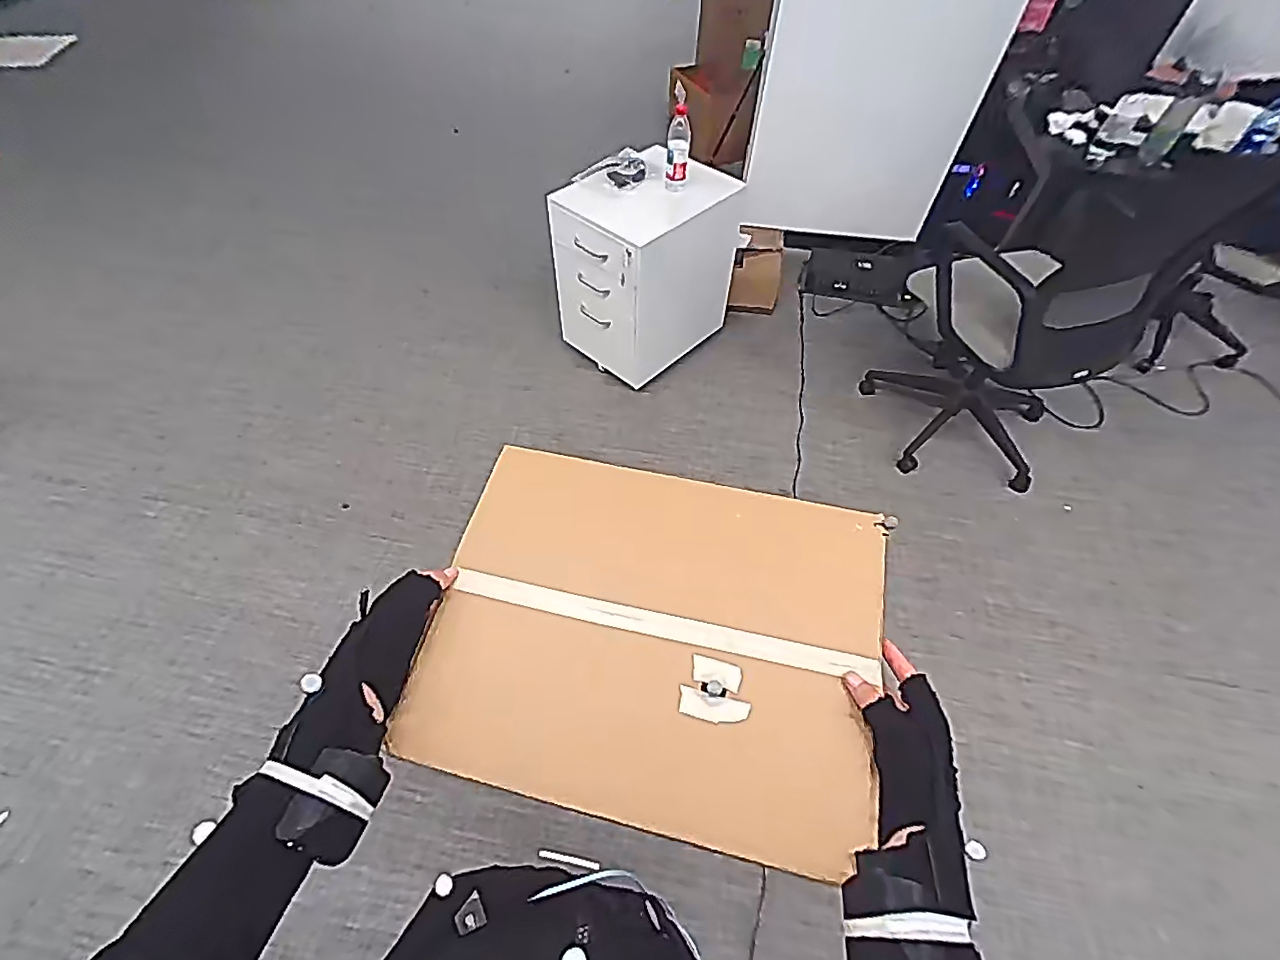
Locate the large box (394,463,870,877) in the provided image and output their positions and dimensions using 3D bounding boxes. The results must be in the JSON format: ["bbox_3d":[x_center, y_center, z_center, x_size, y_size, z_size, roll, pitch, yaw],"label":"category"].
[{"bbox_3d":[0.014,0.215,0.640,0.408,0.320,0.320,11,62,8],"label":"large box"}]
